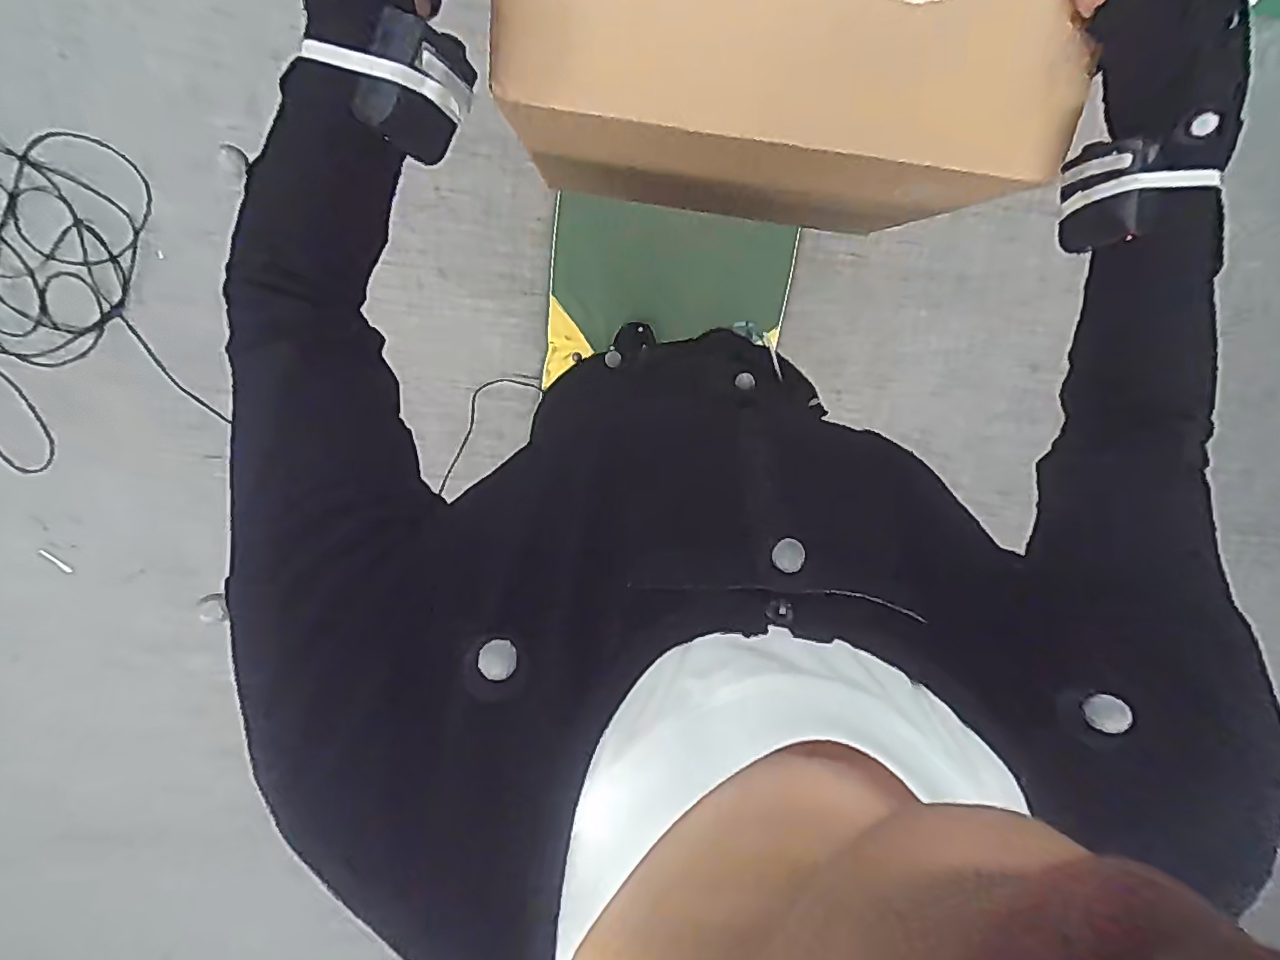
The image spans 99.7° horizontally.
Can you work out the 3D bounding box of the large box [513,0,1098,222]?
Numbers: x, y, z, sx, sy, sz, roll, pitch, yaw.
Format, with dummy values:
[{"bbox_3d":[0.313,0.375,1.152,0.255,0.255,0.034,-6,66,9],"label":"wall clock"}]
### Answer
[{"bbox_3d":[0.113,-0.438,0.481,0.408,0.320,0.320,5,108,-5],"label":"large box"}]
